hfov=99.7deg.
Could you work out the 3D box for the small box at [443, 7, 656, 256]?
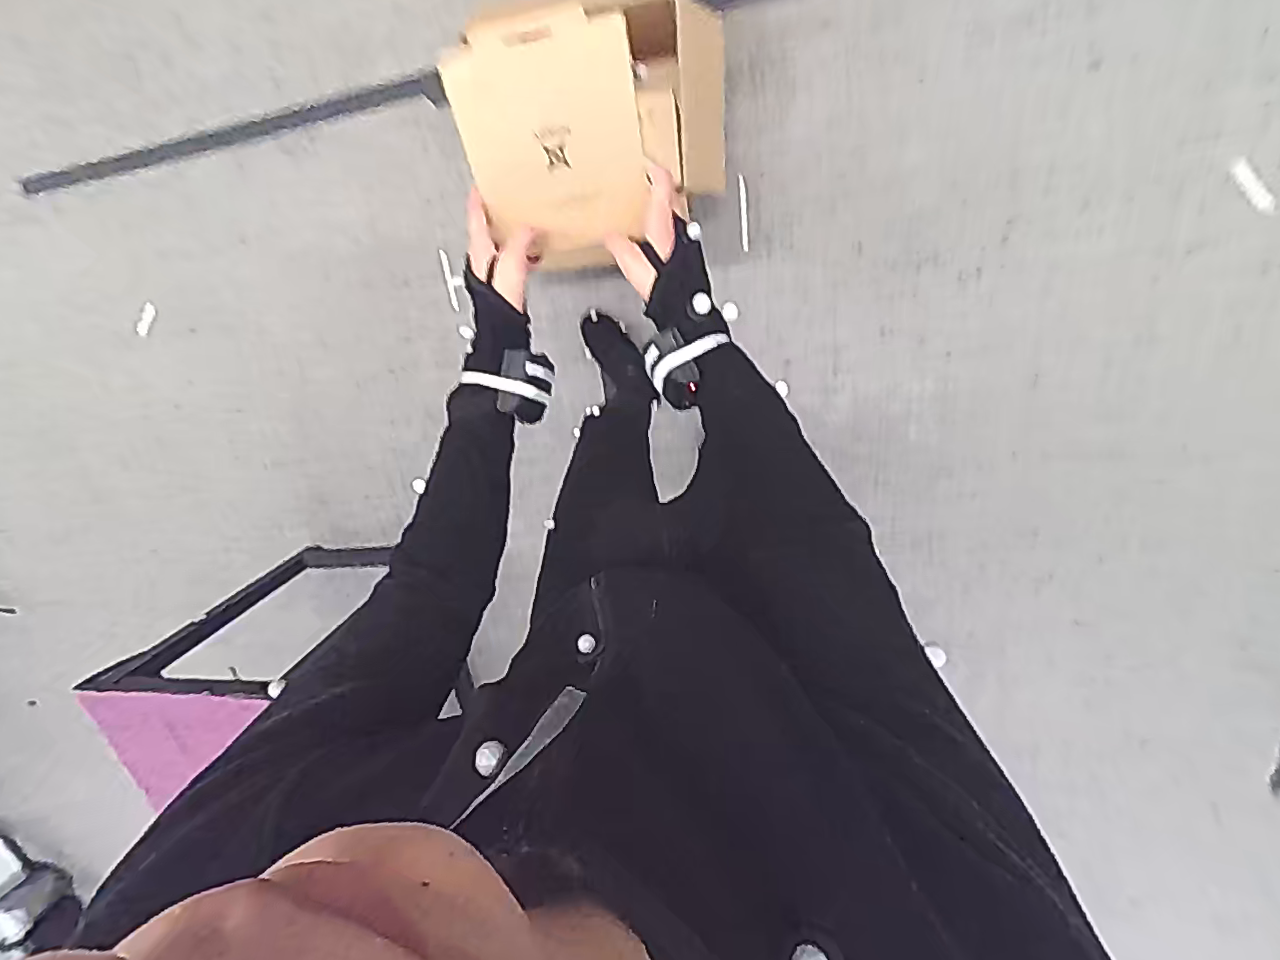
[{"bbox_3d":[-0.079,-0.358,0.567,0.168,0.176,0.179,-8,126,6],"label":"small box"}]
